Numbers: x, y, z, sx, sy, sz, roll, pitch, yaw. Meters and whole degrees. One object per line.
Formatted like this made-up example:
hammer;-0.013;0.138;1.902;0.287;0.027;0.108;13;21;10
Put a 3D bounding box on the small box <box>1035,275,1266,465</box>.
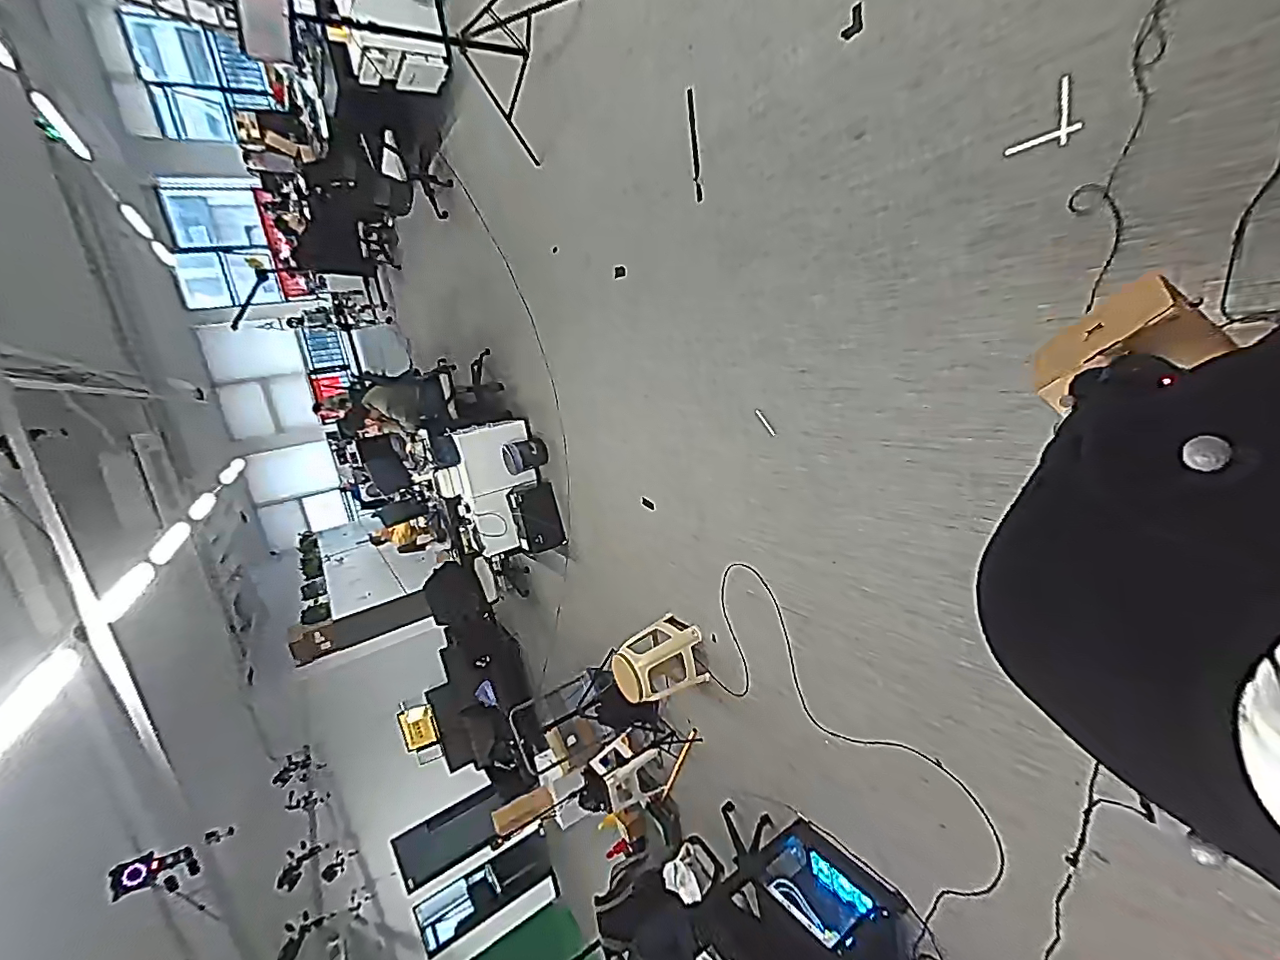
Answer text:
small box;0.690;-0.145;0.748;0.176;0.179;0.168;45;137;2
